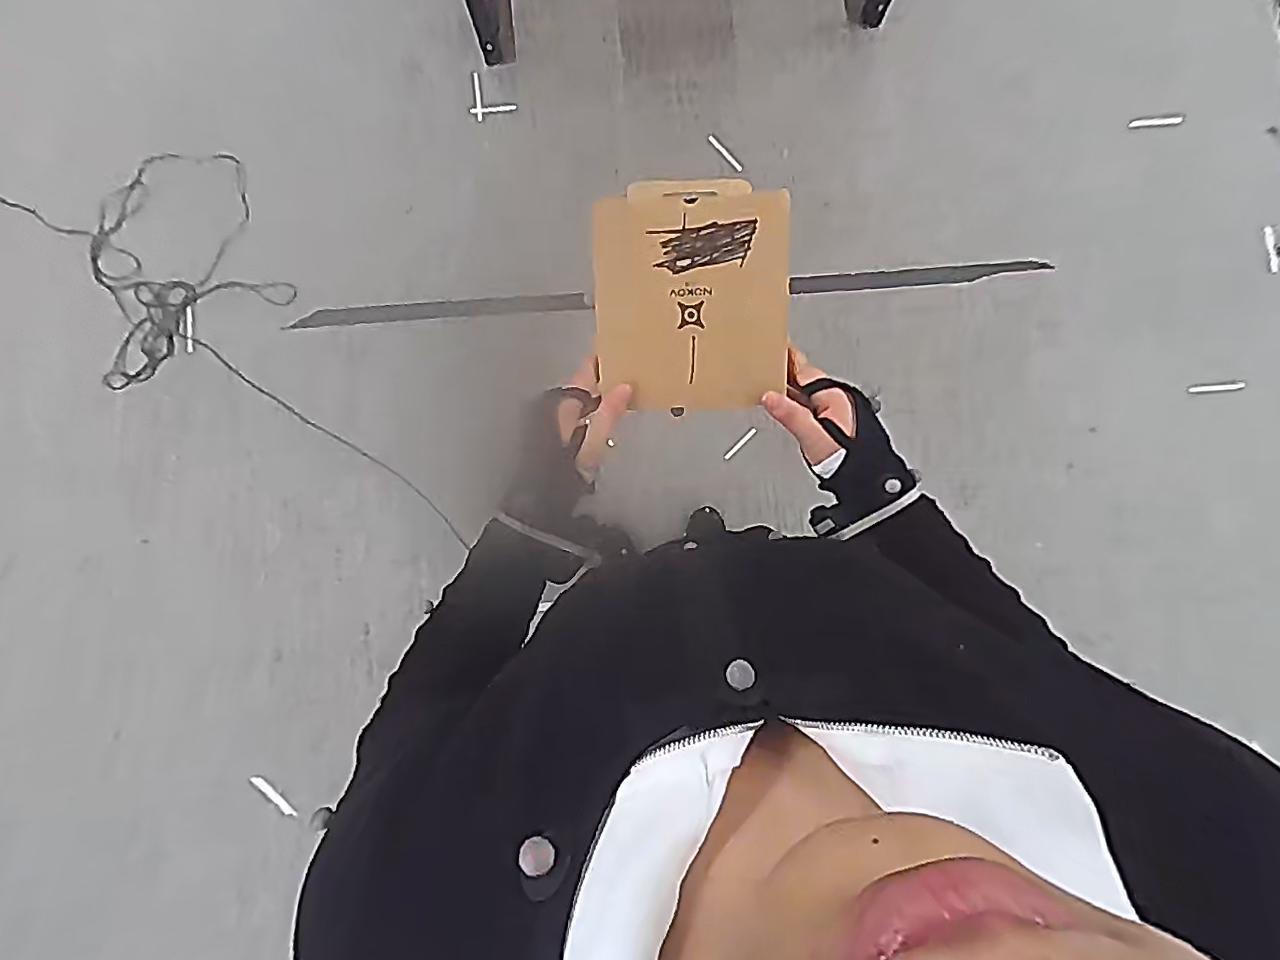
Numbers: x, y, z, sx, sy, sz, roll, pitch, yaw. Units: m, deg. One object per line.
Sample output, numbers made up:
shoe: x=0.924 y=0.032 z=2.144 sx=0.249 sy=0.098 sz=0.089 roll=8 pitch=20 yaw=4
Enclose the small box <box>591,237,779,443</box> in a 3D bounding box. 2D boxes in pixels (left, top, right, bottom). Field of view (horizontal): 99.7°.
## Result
small box: x=0.038 y=-0.136 z=0.555 sx=0.168 sy=0.176 sz=0.179 roll=-2 pitch=102 yaw=-1
